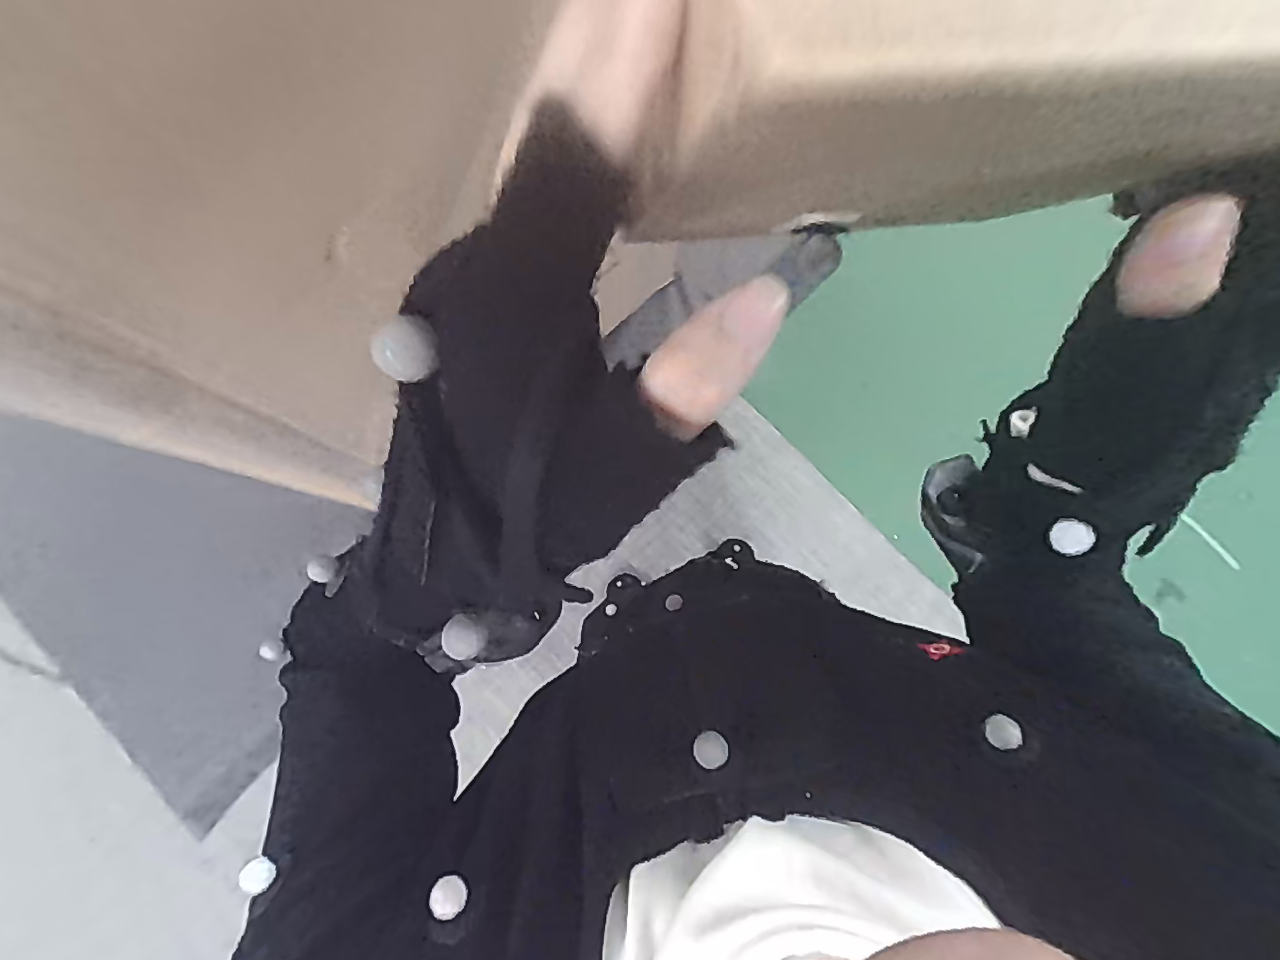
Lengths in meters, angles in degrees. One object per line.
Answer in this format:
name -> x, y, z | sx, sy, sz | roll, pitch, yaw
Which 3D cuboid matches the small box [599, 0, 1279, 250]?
small box -> 0.073, -0.163, 0.129 | 0.168, 0.176, 0.179 | -7, 109, -3
